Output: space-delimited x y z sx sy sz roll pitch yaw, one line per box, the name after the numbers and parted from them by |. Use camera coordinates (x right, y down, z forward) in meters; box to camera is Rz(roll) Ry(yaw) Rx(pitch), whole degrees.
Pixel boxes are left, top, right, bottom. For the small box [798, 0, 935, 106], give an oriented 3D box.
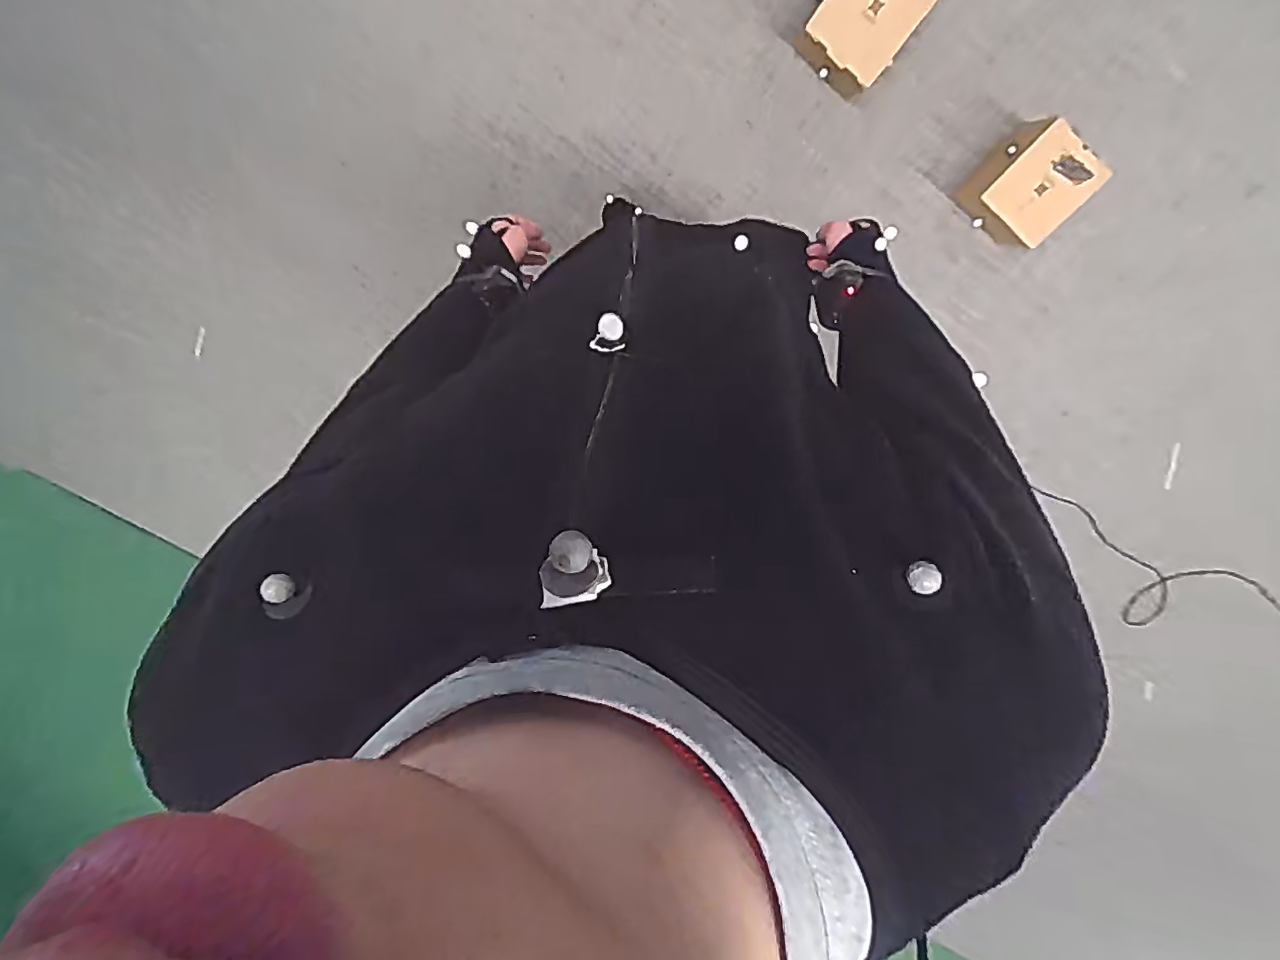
0.432 -0.883 1.069 0.168 0.176 0.179 36 116 -11 | small box

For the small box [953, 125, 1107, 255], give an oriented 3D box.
0.817 -0.614 1.155 0.168 0.176 0.179 36 117 -10 | small box
